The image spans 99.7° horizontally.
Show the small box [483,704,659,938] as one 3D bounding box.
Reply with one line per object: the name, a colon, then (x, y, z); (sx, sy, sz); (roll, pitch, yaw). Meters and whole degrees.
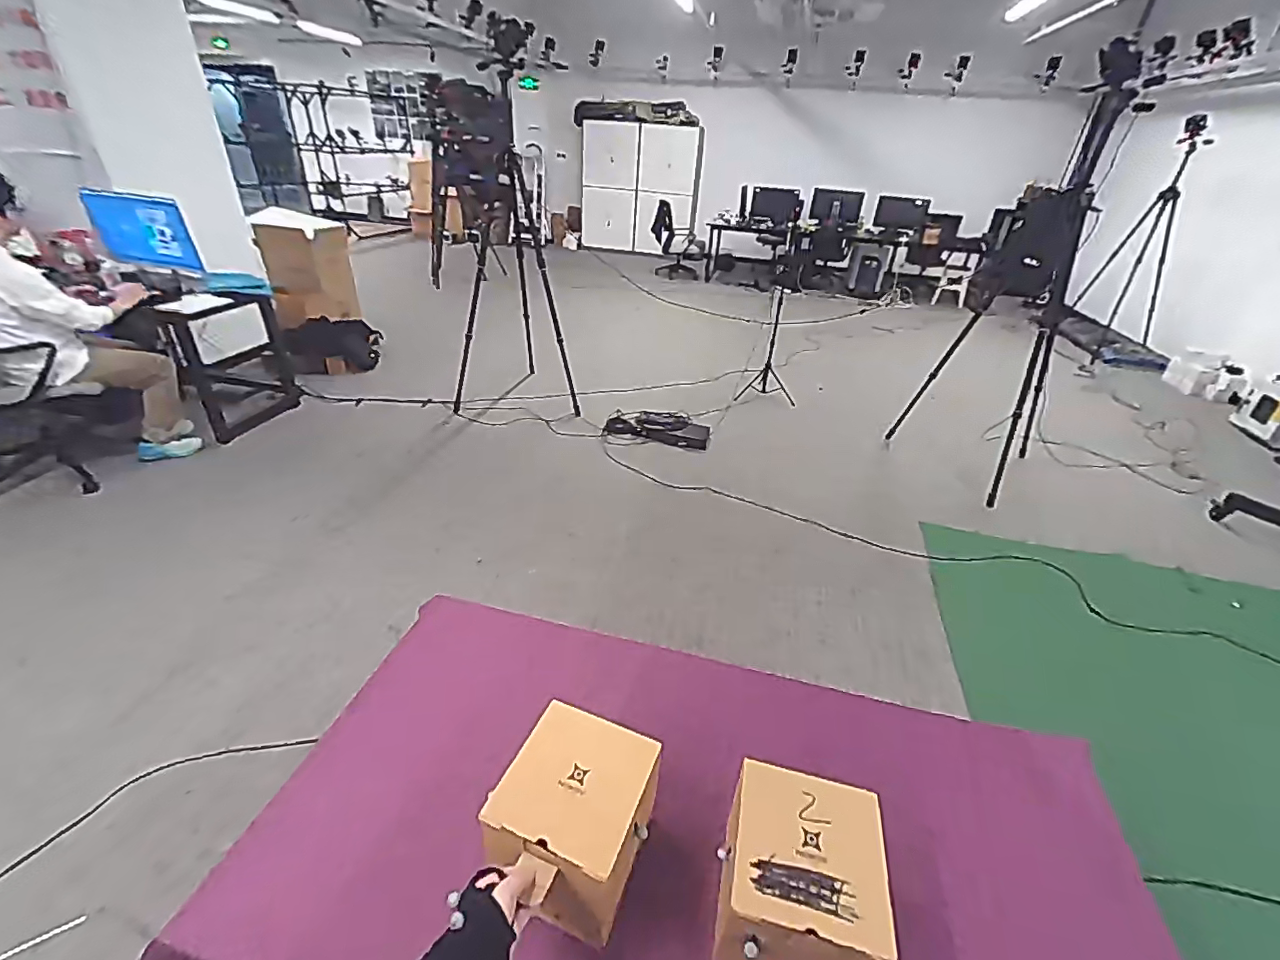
small box: (-0.086, 0.445, 0.718); (0.168, 0.176, 0.179); (15, 33, 17)
